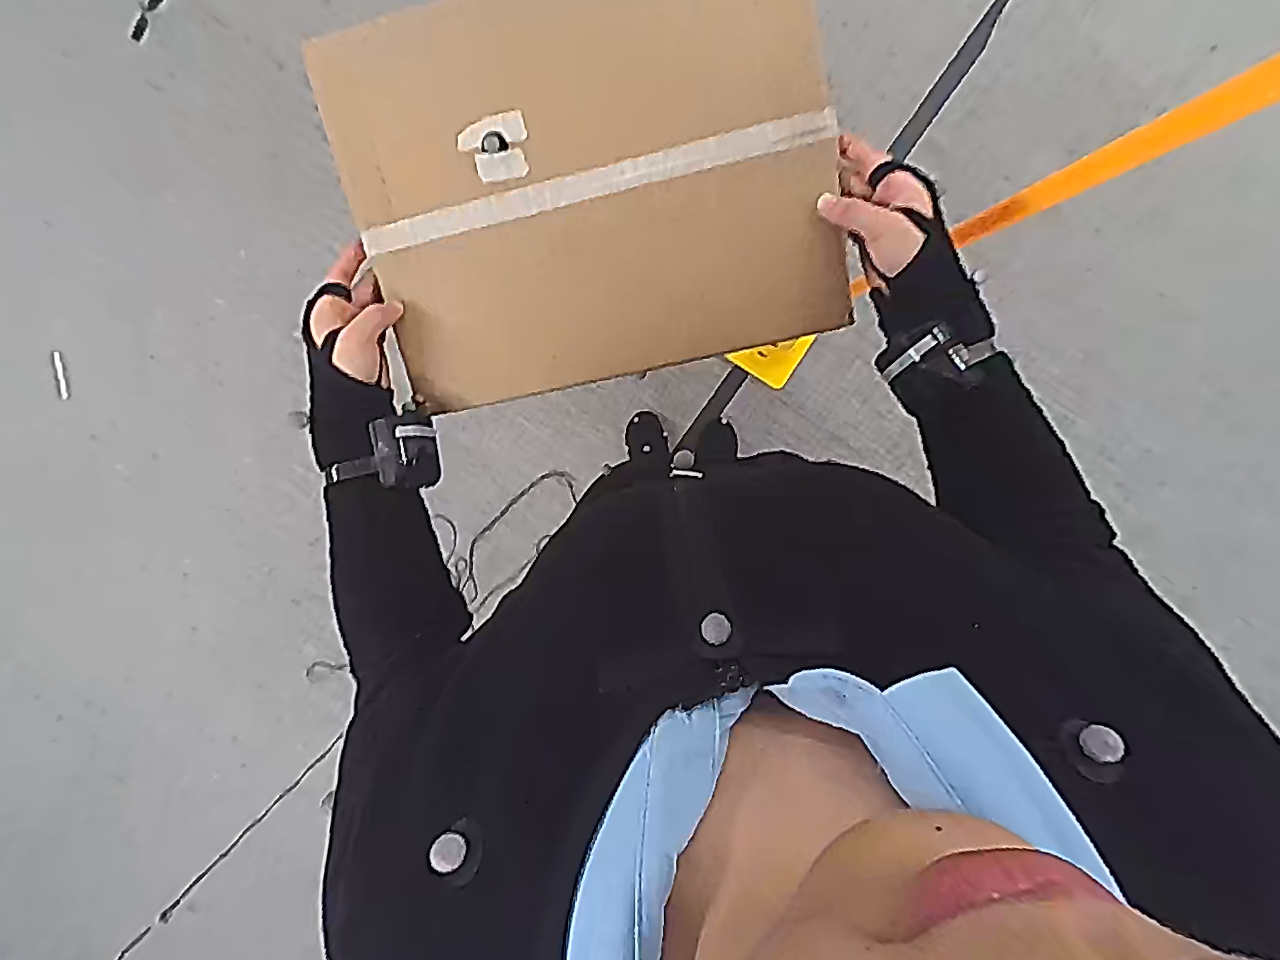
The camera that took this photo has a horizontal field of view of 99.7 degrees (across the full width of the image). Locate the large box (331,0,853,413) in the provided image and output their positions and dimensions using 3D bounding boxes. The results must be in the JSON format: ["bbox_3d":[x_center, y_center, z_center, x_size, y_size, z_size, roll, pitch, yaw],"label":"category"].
[{"bbox_3d":[-0.026,-0.289,0.609,0.408,0.320,0.320,-12,103,7],"label":"large box"}]
